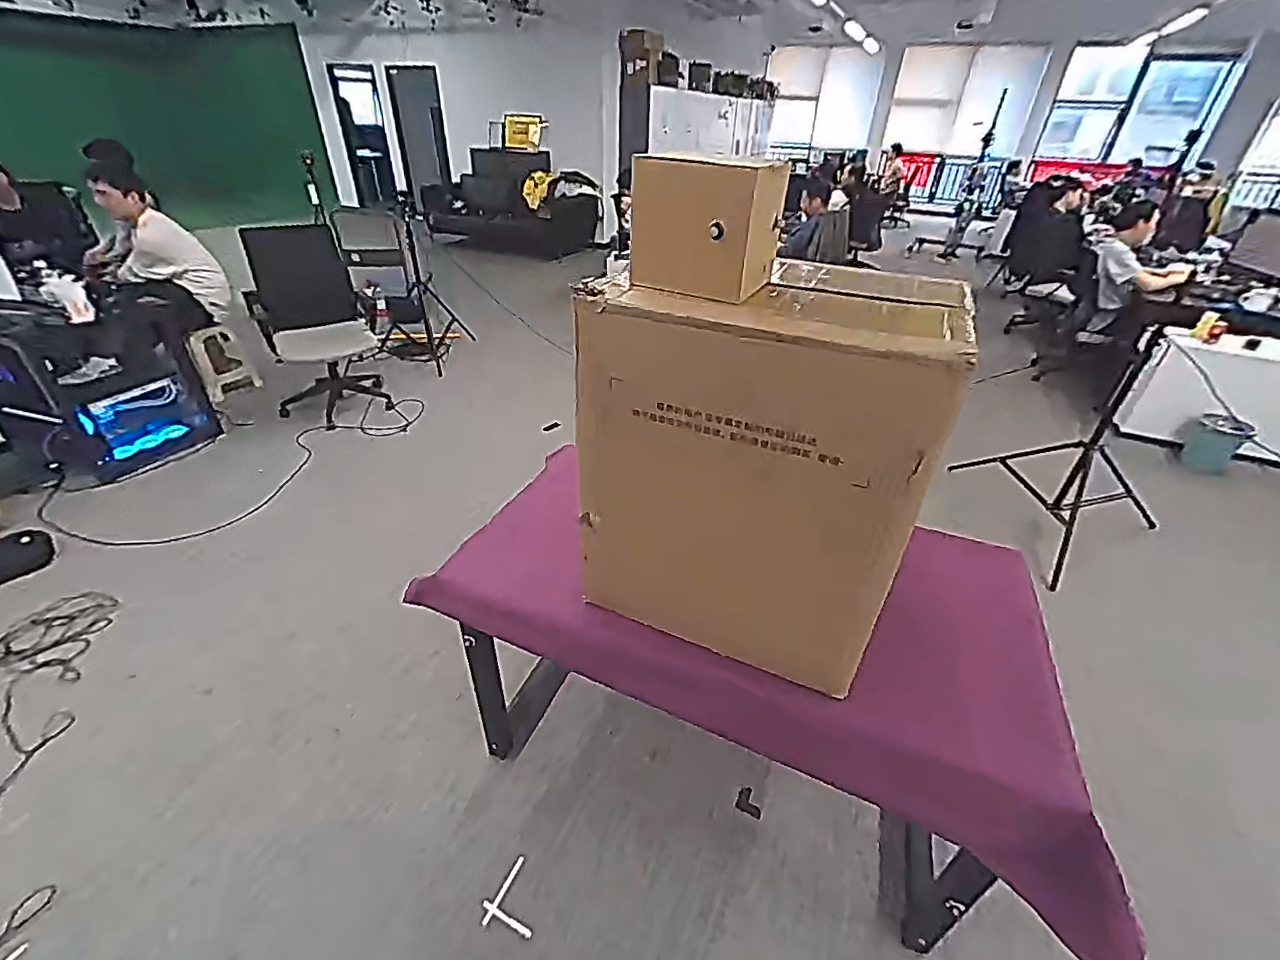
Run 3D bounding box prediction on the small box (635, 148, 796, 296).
[{"bbox_3d":[0.105,-0.373,0.781,0.179,0.176,0.168,17,36,21],"label":"small box"}]
